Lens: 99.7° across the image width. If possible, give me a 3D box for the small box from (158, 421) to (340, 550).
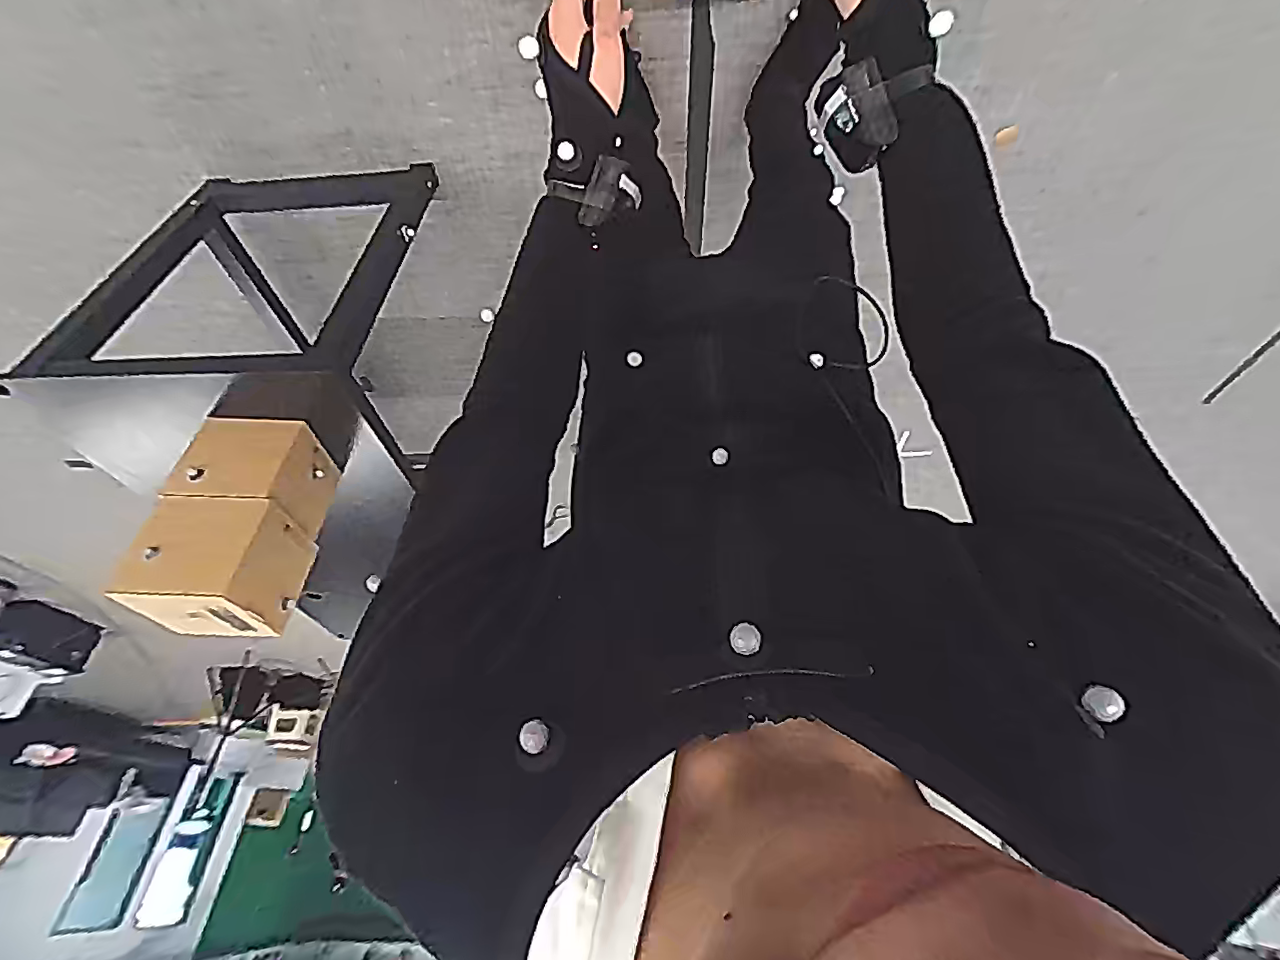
[{"bbox_3d":[-0.677,0.009,0.962,0.179,0.176,0.168,2,145,-1],"label":"small box"}]
